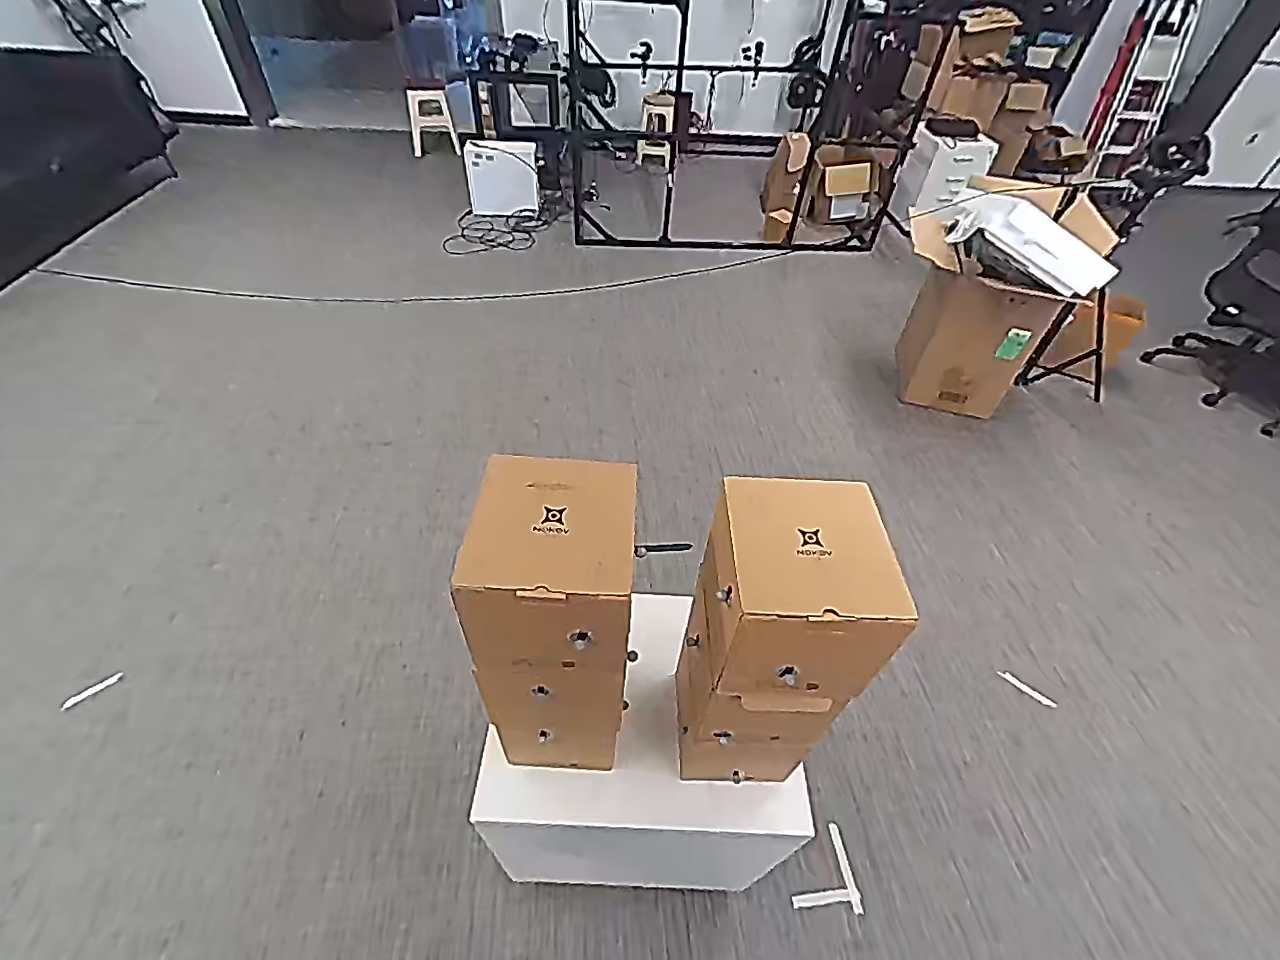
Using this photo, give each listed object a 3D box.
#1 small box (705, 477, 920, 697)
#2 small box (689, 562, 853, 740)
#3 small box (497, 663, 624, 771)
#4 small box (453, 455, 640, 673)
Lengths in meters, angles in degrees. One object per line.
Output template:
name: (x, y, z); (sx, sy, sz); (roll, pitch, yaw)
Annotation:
small box: (0.169, 0.119, 0.601); (0.168, 0.176, 0.179); (2, 47, -2)
small box: (0.159, 0.230, 0.719); (0.168, 0.176, 0.179); (2, 46, -2)
small box: (-0.111, 0.324, 0.835); (0.168, 0.176, 0.179); (4, 45, 0)
small box: (-0.090, 0.096, 0.601); (0.168, 0.176, 0.179); (4, 46, -2)
